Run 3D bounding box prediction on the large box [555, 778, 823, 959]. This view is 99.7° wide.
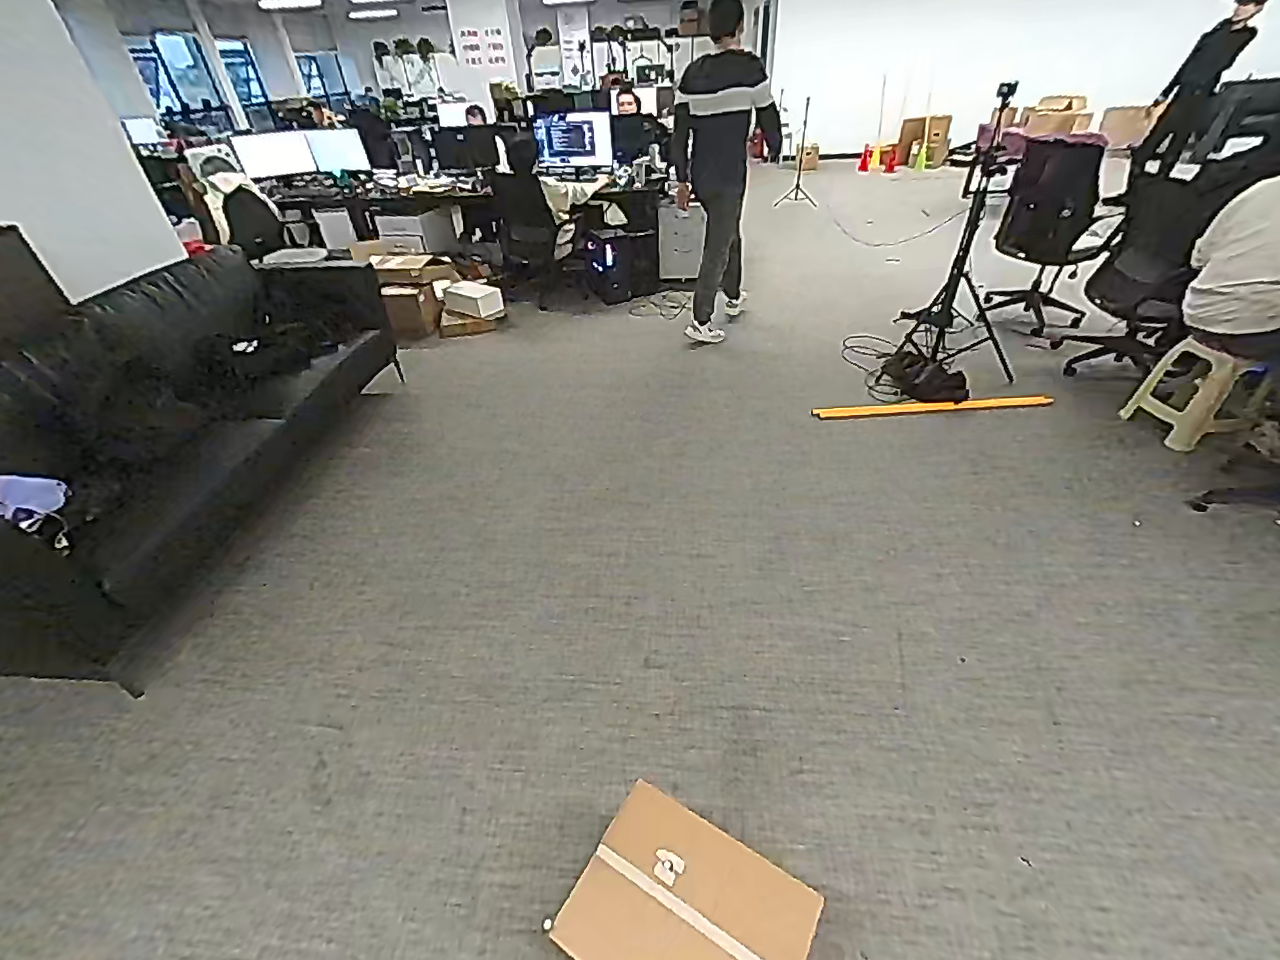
[{"bbox_3d":[0.105,0.896,1.073,0.408,0.320,0.320,18,43,27],"label":"large box"}]
